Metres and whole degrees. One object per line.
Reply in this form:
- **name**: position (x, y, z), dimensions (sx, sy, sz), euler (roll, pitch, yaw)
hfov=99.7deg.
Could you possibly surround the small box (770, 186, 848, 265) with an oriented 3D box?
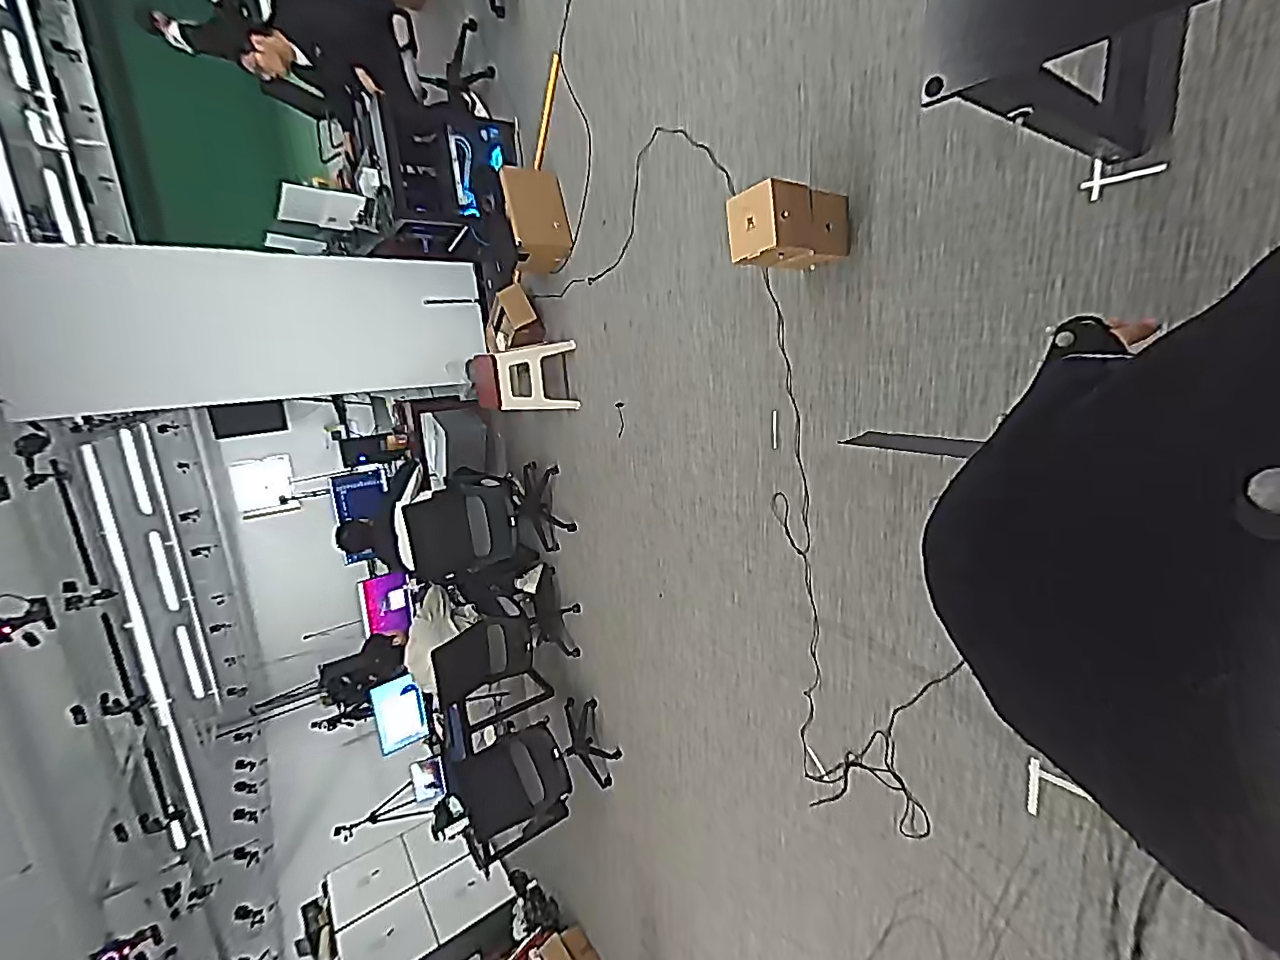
- **small box**: position (0.502, -0.751, 1.613), dimensions (0.168, 0.176, 0.179), euler (9, 109, 54)

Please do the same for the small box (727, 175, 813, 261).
- **small box**: position (0.369, -0.726, 1.521), dimensions (0.168, 0.176, 0.179), euler (4, 103, 54)
